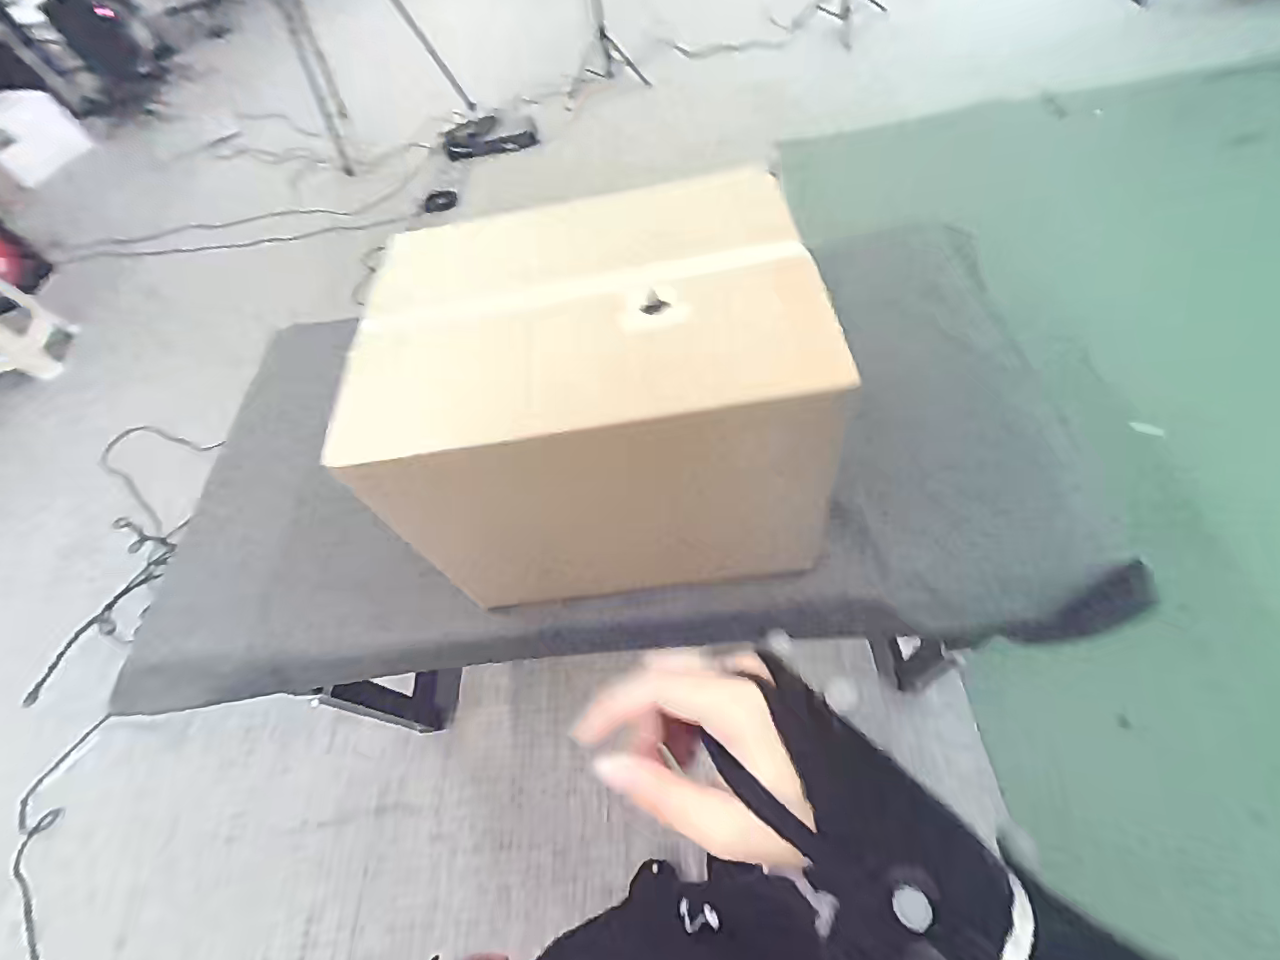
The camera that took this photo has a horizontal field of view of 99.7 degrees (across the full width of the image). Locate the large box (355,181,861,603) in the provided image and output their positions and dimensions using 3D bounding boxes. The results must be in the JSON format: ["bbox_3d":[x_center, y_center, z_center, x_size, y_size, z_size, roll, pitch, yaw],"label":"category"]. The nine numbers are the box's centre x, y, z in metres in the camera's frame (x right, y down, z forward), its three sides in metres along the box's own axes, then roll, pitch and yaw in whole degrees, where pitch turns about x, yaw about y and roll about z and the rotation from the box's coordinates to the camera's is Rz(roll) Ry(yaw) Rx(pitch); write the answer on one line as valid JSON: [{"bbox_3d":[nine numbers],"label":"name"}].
[{"bbox_3d":[-0.023,-0.080,0.616,0.408,0.320,0.320,-8,56,4],"label":"large box"}]
